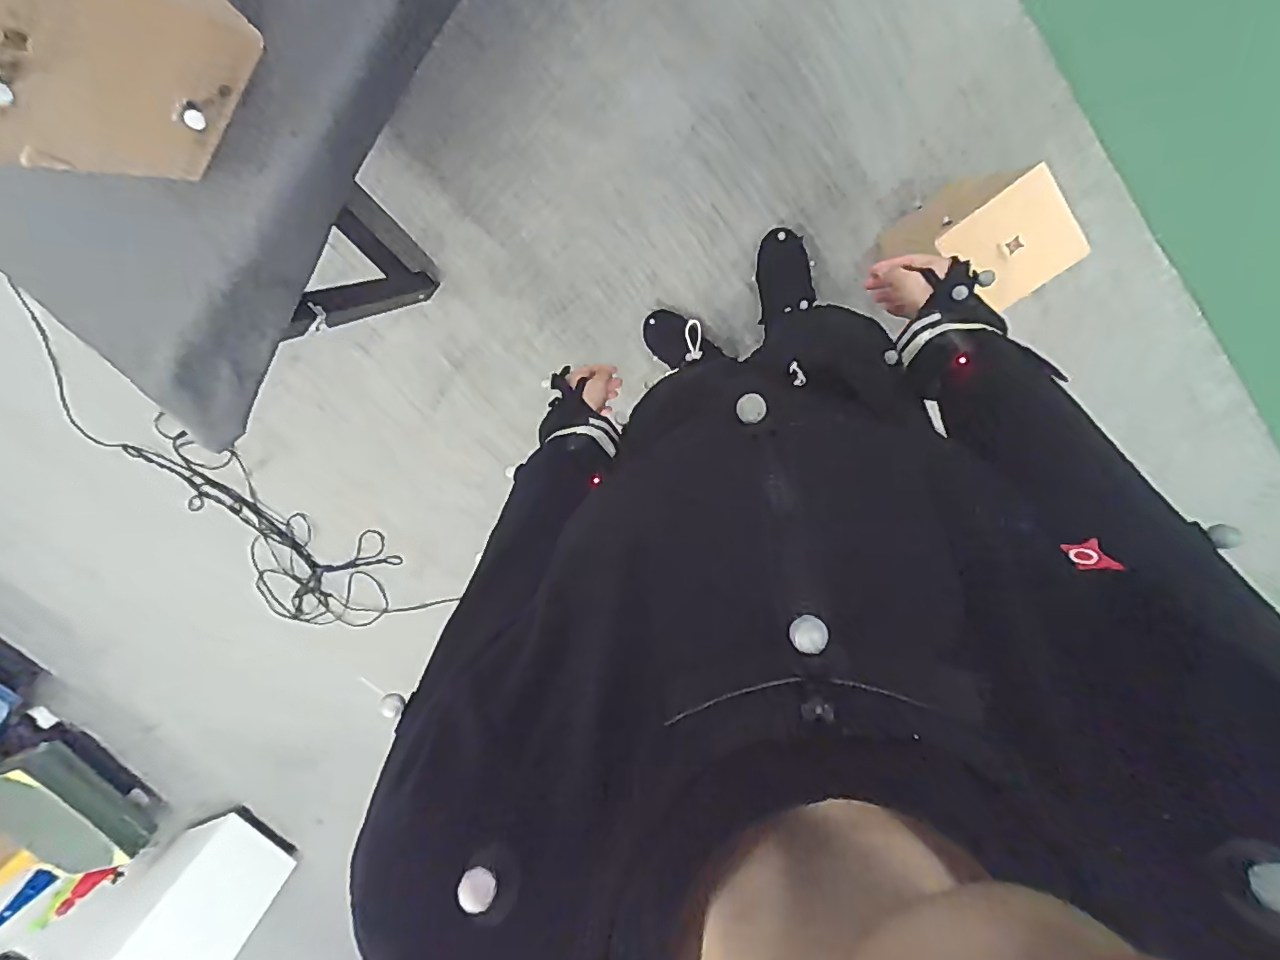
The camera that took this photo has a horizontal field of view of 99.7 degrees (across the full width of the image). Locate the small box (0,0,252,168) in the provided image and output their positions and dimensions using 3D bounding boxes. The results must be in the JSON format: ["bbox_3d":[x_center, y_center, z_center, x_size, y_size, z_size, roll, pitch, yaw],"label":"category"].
[{"bbox_3d":[-0.479,-0.385,0.438,0.179,0.176,0.168,44,114,-14],"label":"small box"}]

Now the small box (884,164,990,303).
[{"bbox_3d":[0.601,-0.475,1.053,0.179,0.176,0.168,-37,105,23],"label":"small box"}]

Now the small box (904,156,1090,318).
[{"bbox_3d":[0.583,-0.404,0.907,0.179,0.176,0.168,-36,106,22],"label":"small box"}]
